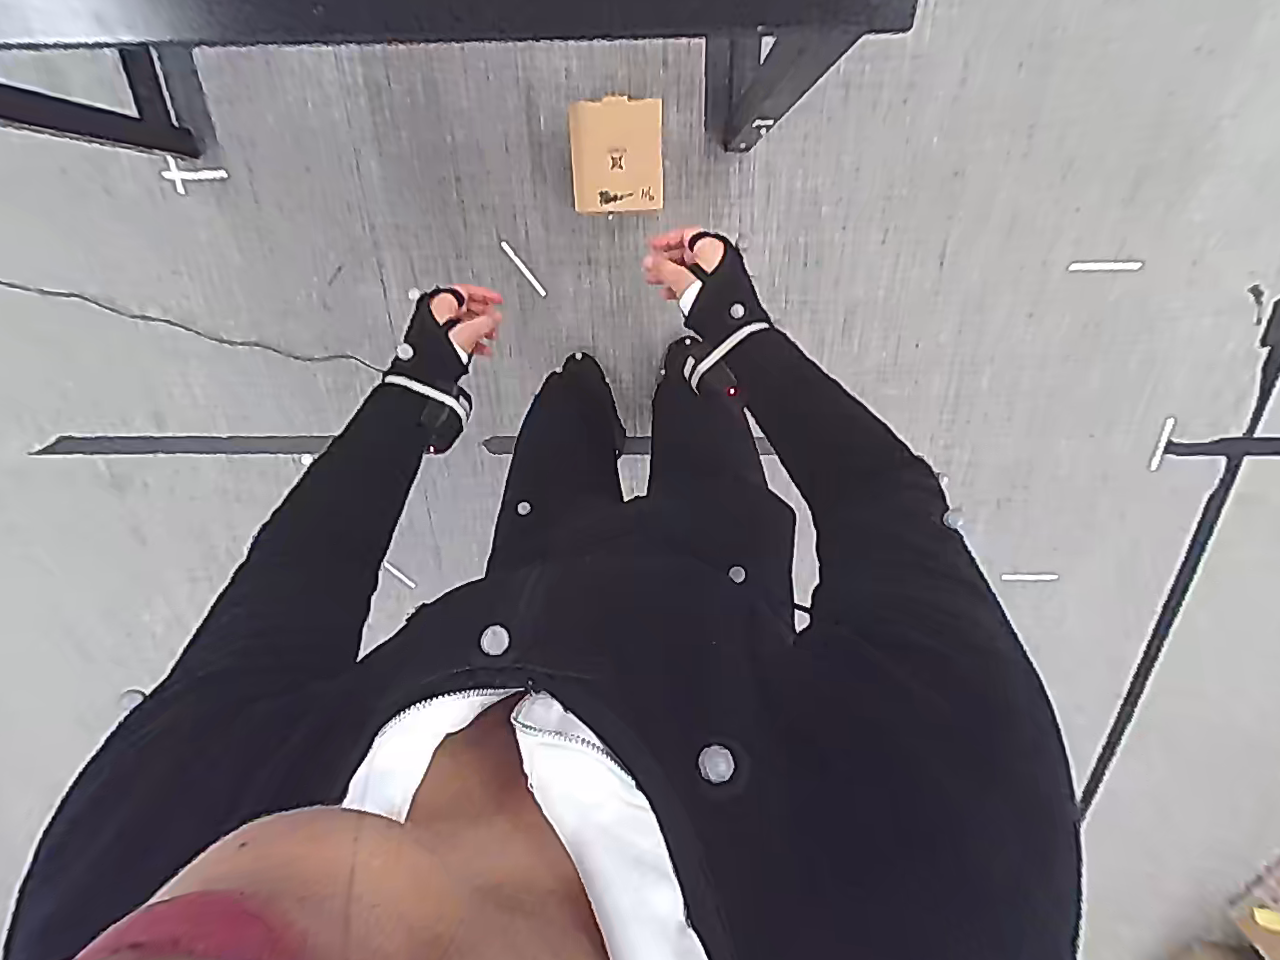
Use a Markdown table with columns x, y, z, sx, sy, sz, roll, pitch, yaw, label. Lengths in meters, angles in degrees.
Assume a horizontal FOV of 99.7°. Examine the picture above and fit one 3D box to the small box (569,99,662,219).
| x | y | z | sx | sy | sz | roll | pitch | yaw | label |
| --- | --- | --- | --- | --- | --- | --- | --- | --- | --- |
| -0.042 | -0.610 | 1.046 | 0.168 | 0.176 | 0.179 | -1 | 112 | 2 | small box |
